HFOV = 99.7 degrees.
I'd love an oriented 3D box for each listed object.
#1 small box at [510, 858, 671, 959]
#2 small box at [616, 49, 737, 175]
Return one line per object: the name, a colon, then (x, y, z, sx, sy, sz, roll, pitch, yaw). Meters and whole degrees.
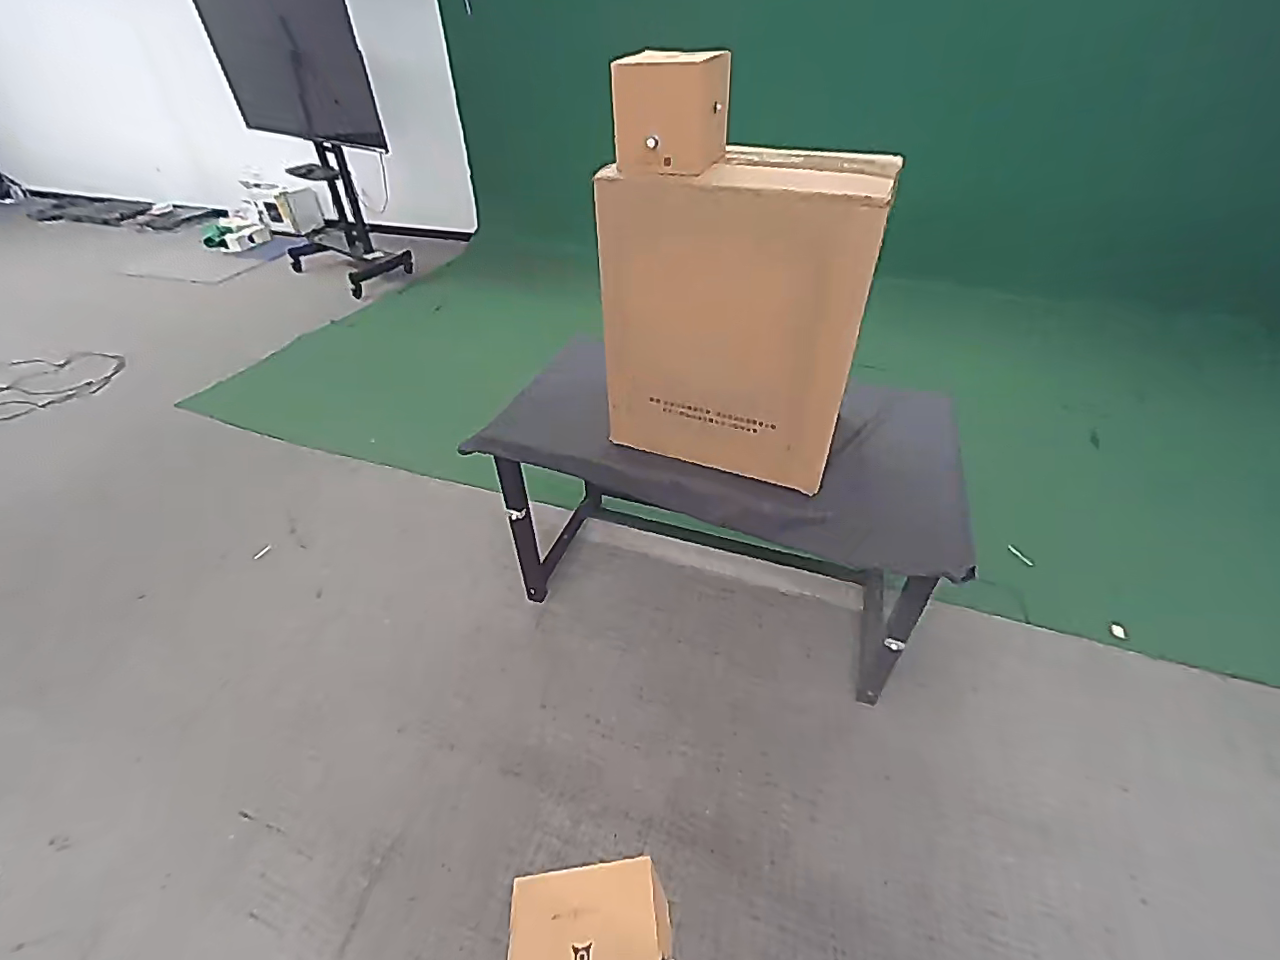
small box: (-0.048, 0.573, 0.620, 0.168, 0.176, 0.179, -9, 38, -1)
small box: (0.068, -0.679, 0.994, 0.168, 0.176, 0.179, 16, 45, 20)
